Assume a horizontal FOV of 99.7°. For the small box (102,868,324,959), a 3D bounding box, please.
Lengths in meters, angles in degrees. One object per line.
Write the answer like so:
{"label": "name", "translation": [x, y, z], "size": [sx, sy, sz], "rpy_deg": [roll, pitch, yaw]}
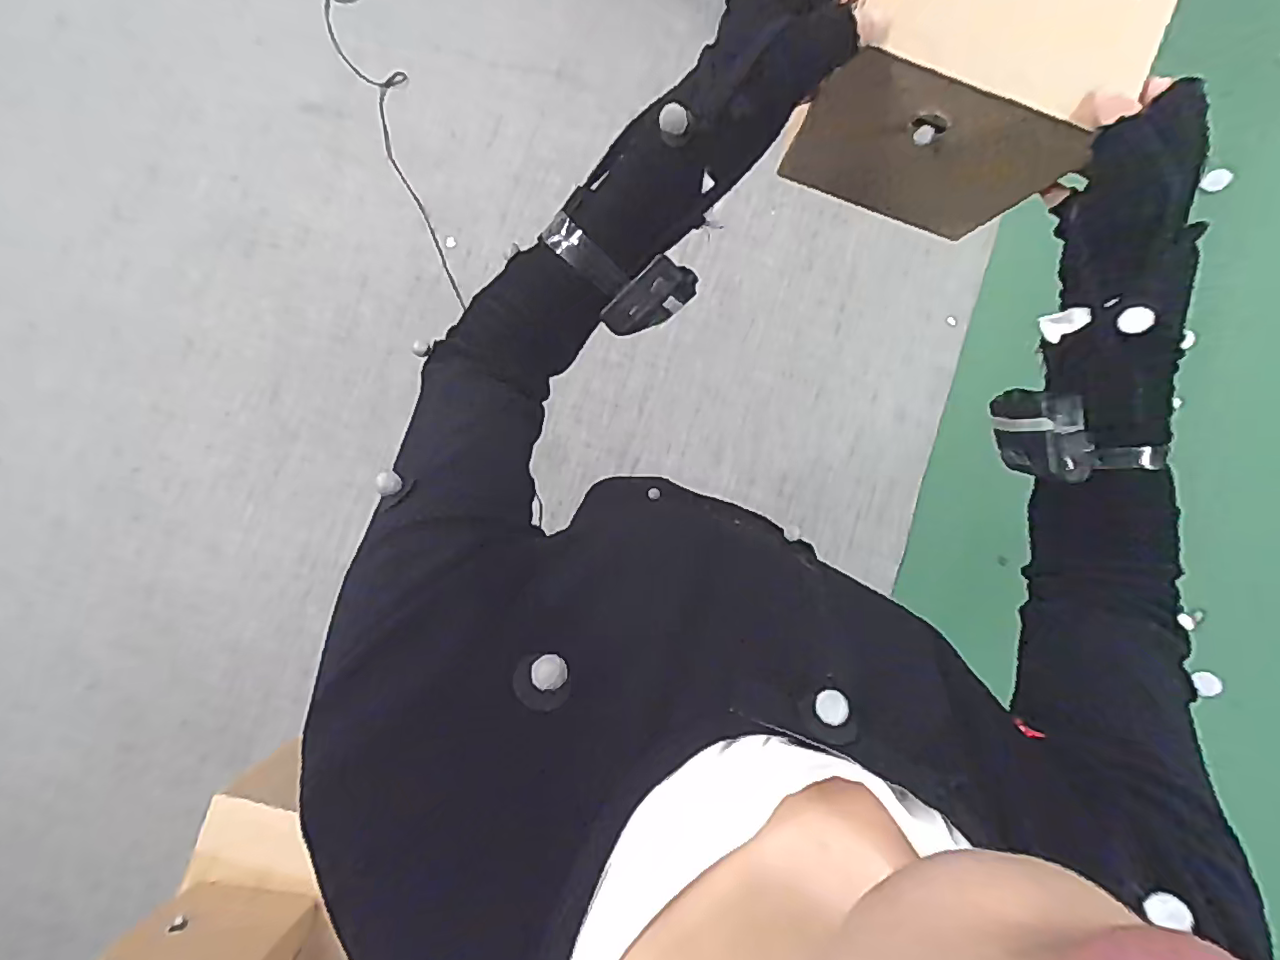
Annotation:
{"label": "small box", "translation": [-0.557, 0.646, 0.704], "size": [0.179, 0.176, 0.168], "rpy_deg": [9, 83, -1]}

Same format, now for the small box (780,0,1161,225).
{"label": "small box", "translation": [0.223, -0.316, 0.394], "size": [0.179, 0.176, 0.168], "rpy_deg": [19, 94, -2]}
